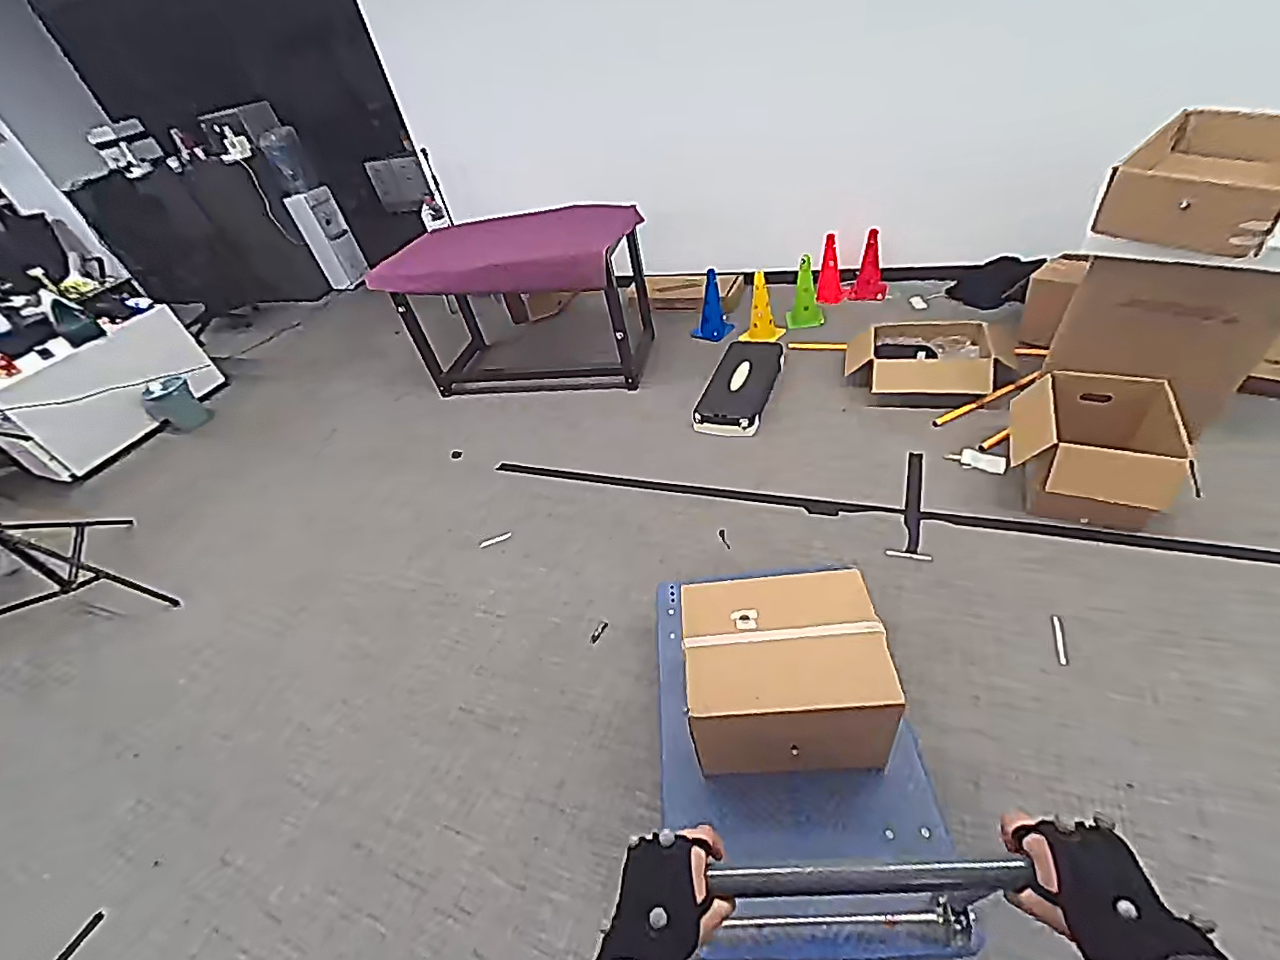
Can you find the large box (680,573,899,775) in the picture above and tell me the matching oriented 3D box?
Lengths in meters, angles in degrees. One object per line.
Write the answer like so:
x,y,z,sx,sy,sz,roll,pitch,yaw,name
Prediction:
0.317,0.447,1.235,0.408,0.320,0.320,-8,41,8,large box
